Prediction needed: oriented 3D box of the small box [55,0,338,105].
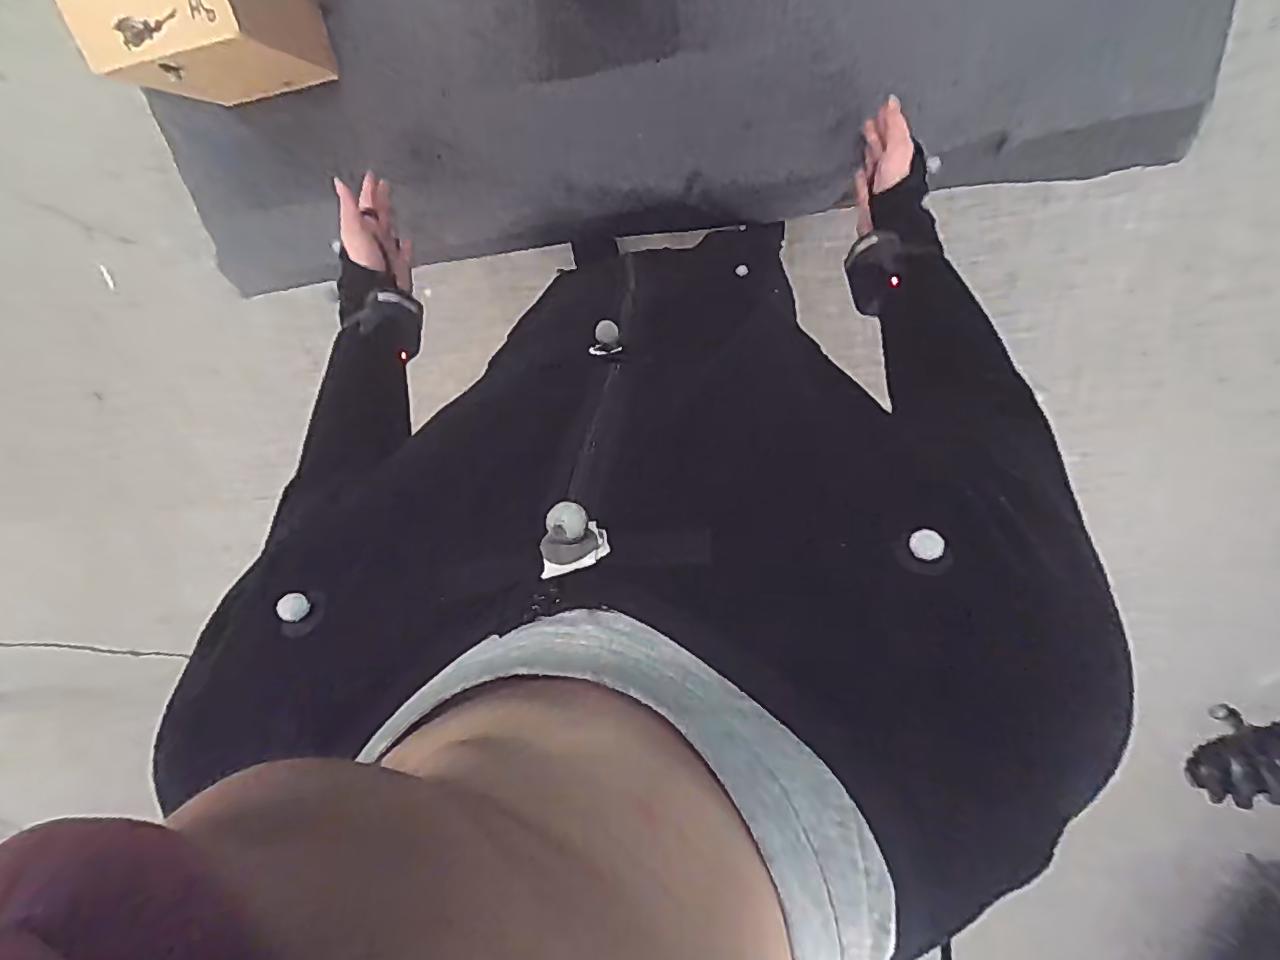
[{"bbox_3d":[-0.451,-0.509,0.543,0.168,0.176,0.179,-6,115,9],"label":"small box"}]
